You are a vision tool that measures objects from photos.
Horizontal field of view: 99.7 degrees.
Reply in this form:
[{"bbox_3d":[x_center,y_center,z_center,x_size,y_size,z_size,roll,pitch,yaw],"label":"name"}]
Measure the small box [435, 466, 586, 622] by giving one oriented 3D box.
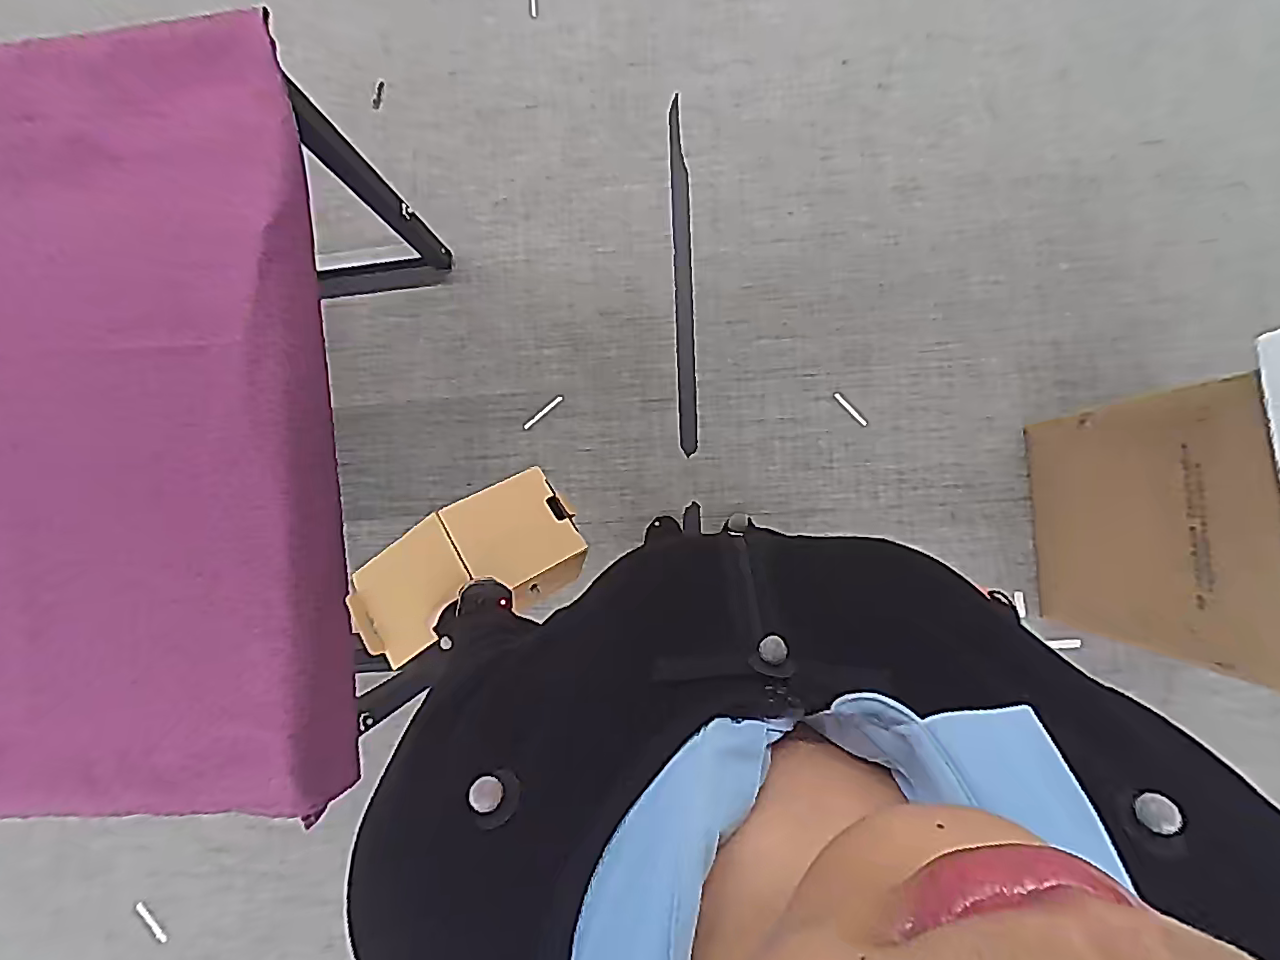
[{"bbox_3d":[-0.207,0.111,0.883,0.179,0.176,0.168,-27,73,-23],"label":"small box"}]
